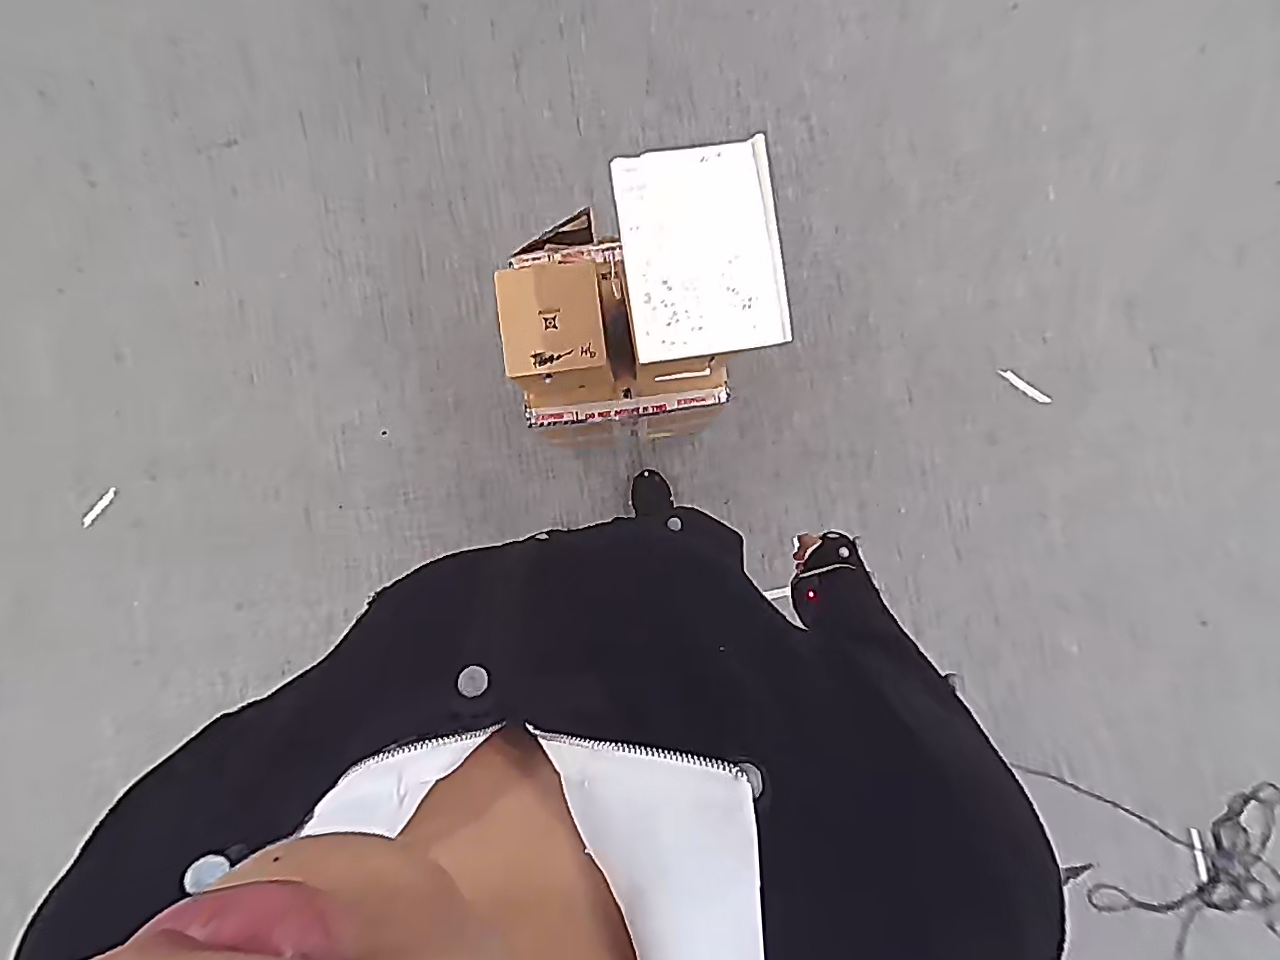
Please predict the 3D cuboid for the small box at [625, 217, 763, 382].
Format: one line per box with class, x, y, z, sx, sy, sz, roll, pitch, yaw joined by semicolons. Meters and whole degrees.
small box;0.069;-0.253;0.792;0.168;0.176;0.179;-8;90;-2
